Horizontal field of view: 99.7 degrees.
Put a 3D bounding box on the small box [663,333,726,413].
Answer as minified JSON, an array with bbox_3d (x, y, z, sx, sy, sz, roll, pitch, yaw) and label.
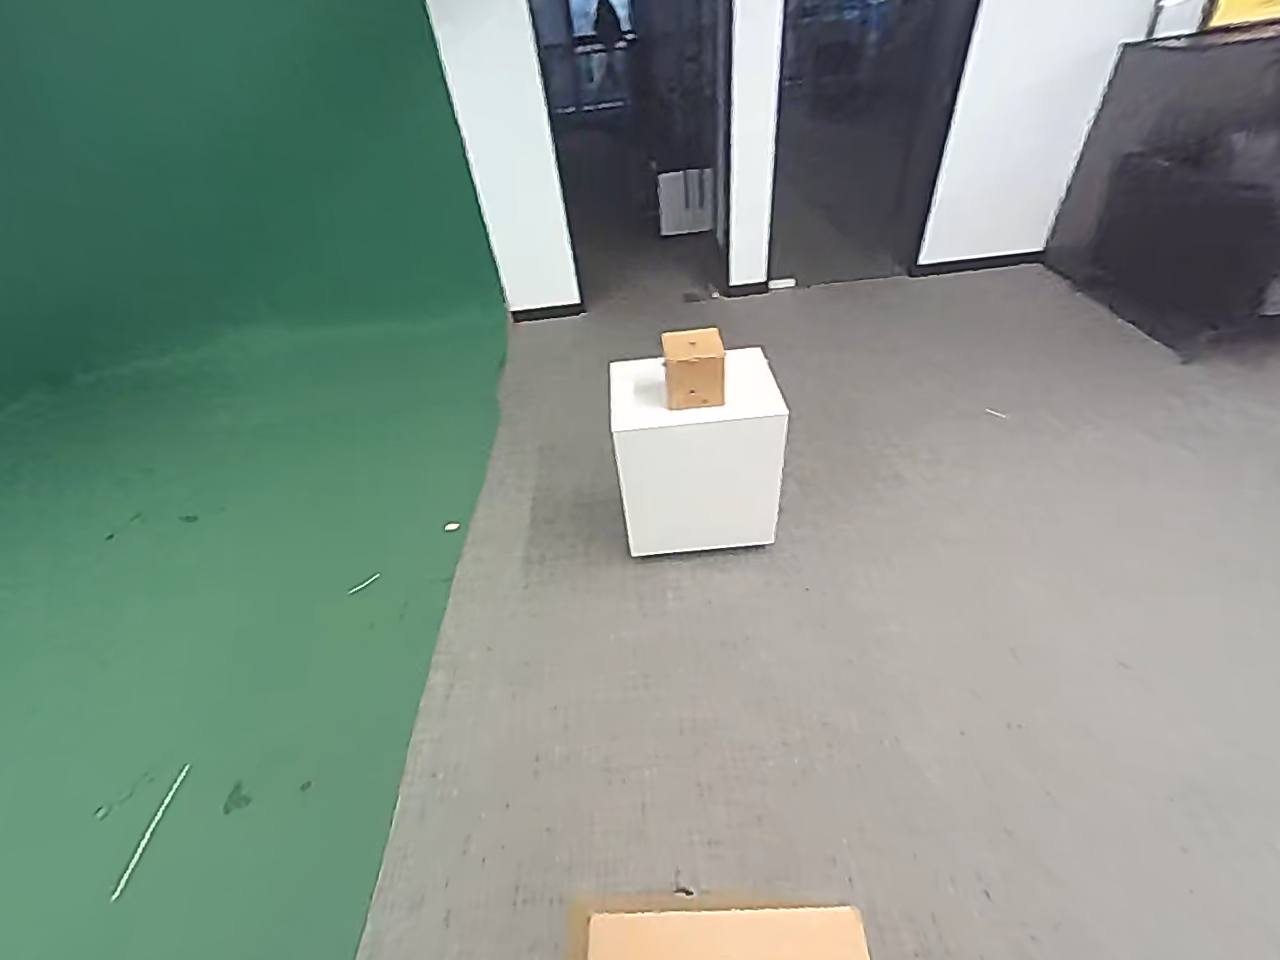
[{"bbox_3d":[0.159,-0.319,1.608,0.168,0.176,0.179,-6,40,1],"label":"small box"}]
